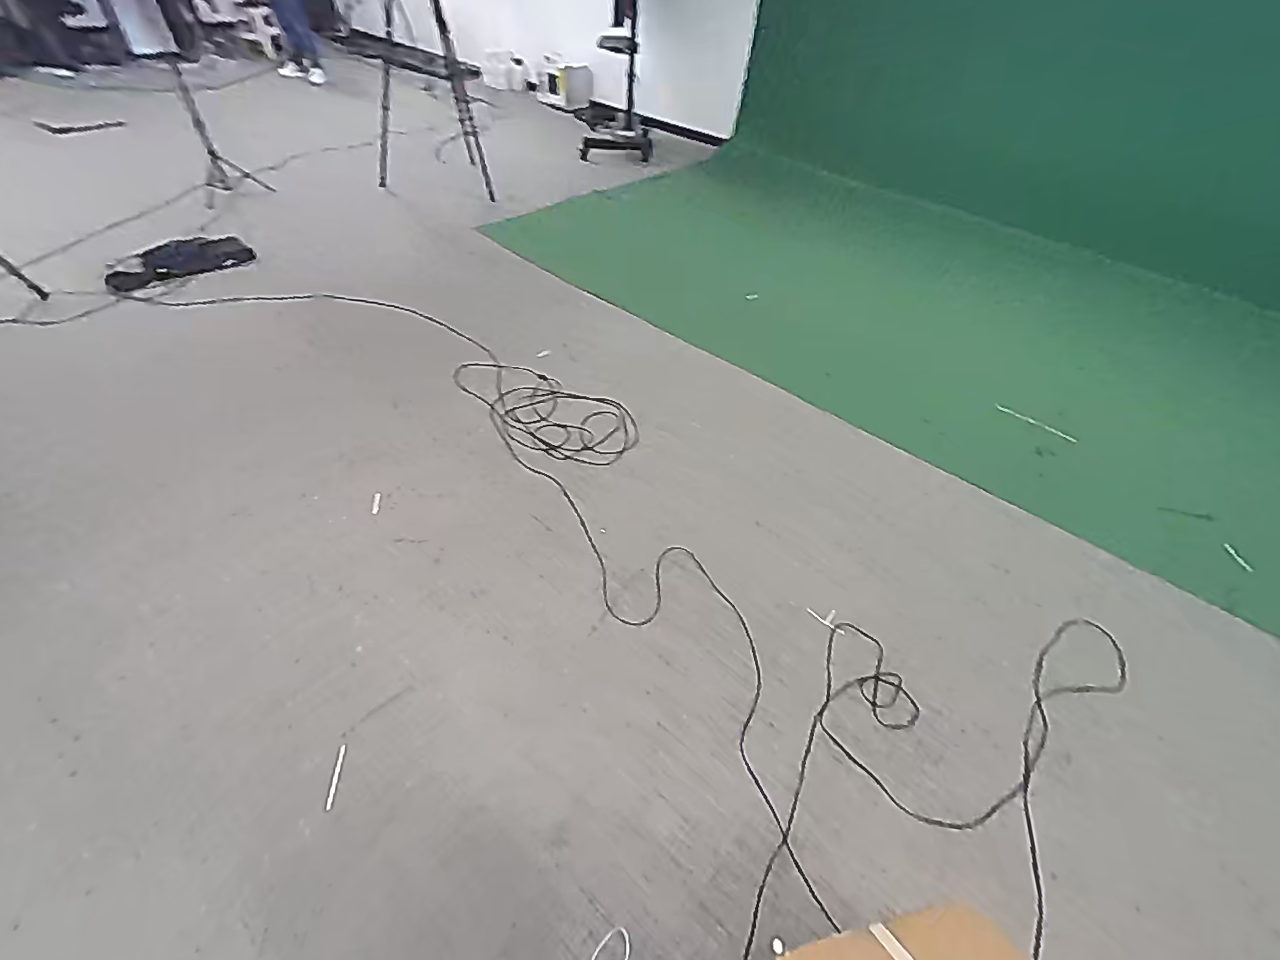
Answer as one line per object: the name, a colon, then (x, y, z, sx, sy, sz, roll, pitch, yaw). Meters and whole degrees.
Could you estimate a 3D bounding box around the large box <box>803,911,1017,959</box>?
large box: (0.395, 0.799, 0.583, 0.320, 0.408, 0.320, -6, 87, -11)
